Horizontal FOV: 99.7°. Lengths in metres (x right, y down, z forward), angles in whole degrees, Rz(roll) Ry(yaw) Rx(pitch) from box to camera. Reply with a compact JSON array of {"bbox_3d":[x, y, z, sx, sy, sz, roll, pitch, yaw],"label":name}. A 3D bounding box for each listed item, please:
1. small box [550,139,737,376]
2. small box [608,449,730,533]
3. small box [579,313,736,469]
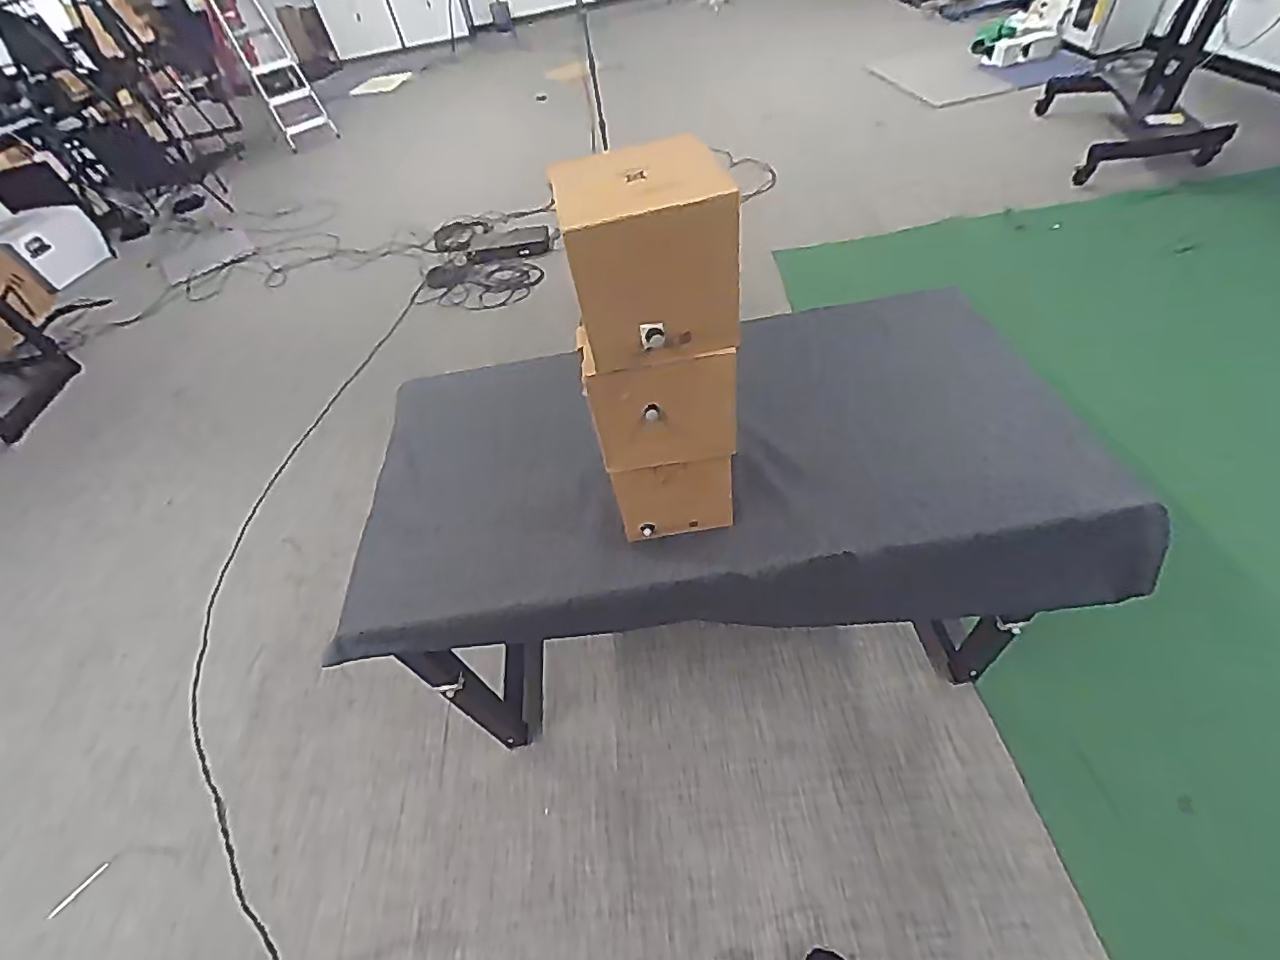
[{"bbox_3d":[0.005,-0.245,0.602,0.168,0.176,0.179,-14,49,0],"label":"small box"},{"bbox_3d":[0.044,-0.033,0.847,0.168,0.176,0.179,-10,47,3],"label":"small box"},{"bbox_3d":[0.024,-0.134,0.723,0.179,0.176,0.168,-11,47,1],"label":"small box"}]
